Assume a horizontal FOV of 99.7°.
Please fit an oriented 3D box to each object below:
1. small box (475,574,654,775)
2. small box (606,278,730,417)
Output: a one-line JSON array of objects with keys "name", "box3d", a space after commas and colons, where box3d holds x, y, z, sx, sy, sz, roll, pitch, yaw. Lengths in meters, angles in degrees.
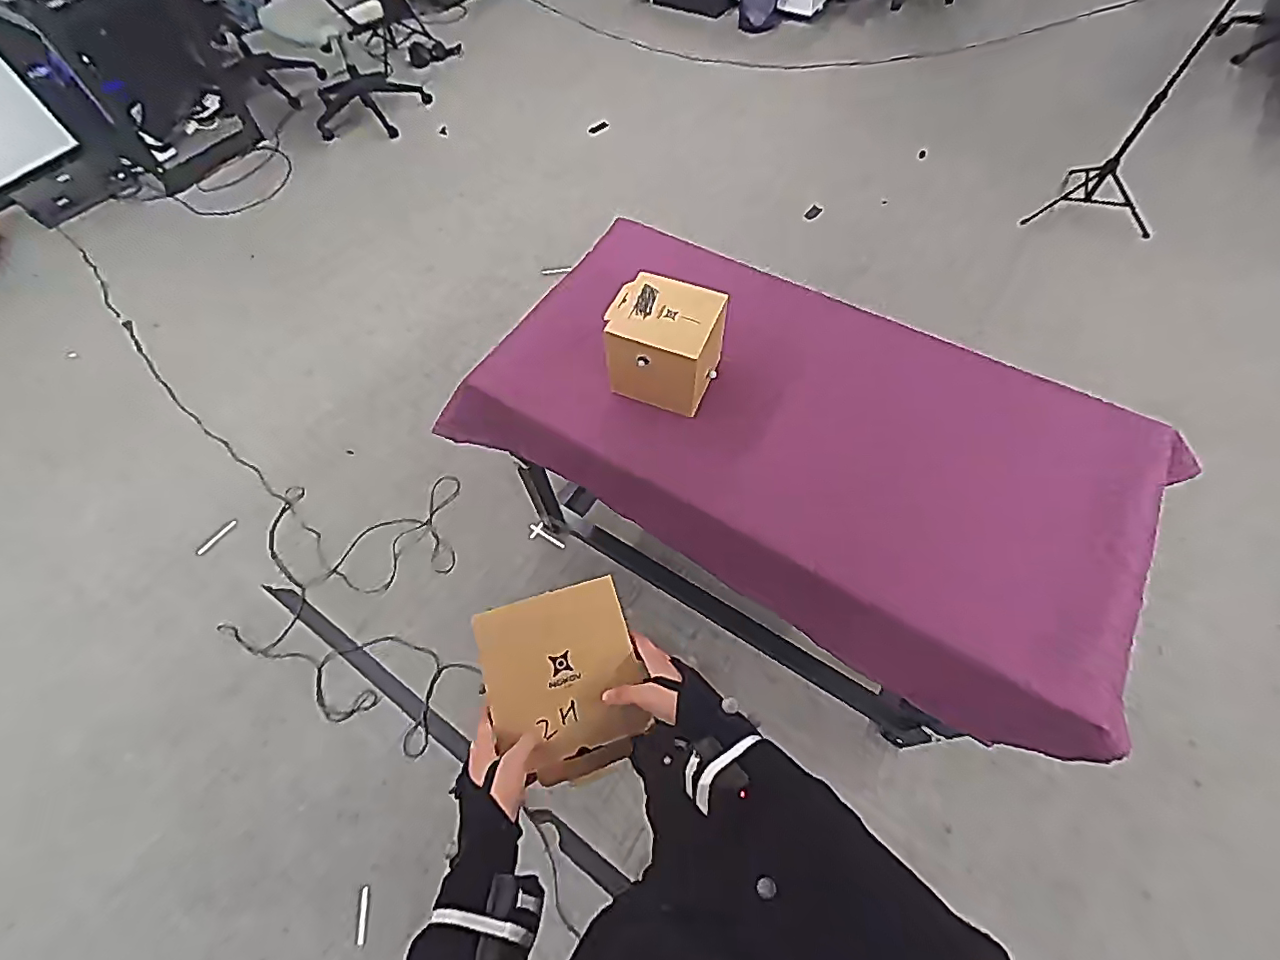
[{"name": "small box", "box3d": [-0.095, 0.234, 0.667, 0.168, 0.176, 0.179, -14, 73, -11]}, {"name": "small box", "box3d": [0.053, -0.244, 1.023, 0.179, 0.176, 0.168, 20, 63, 12]}]
